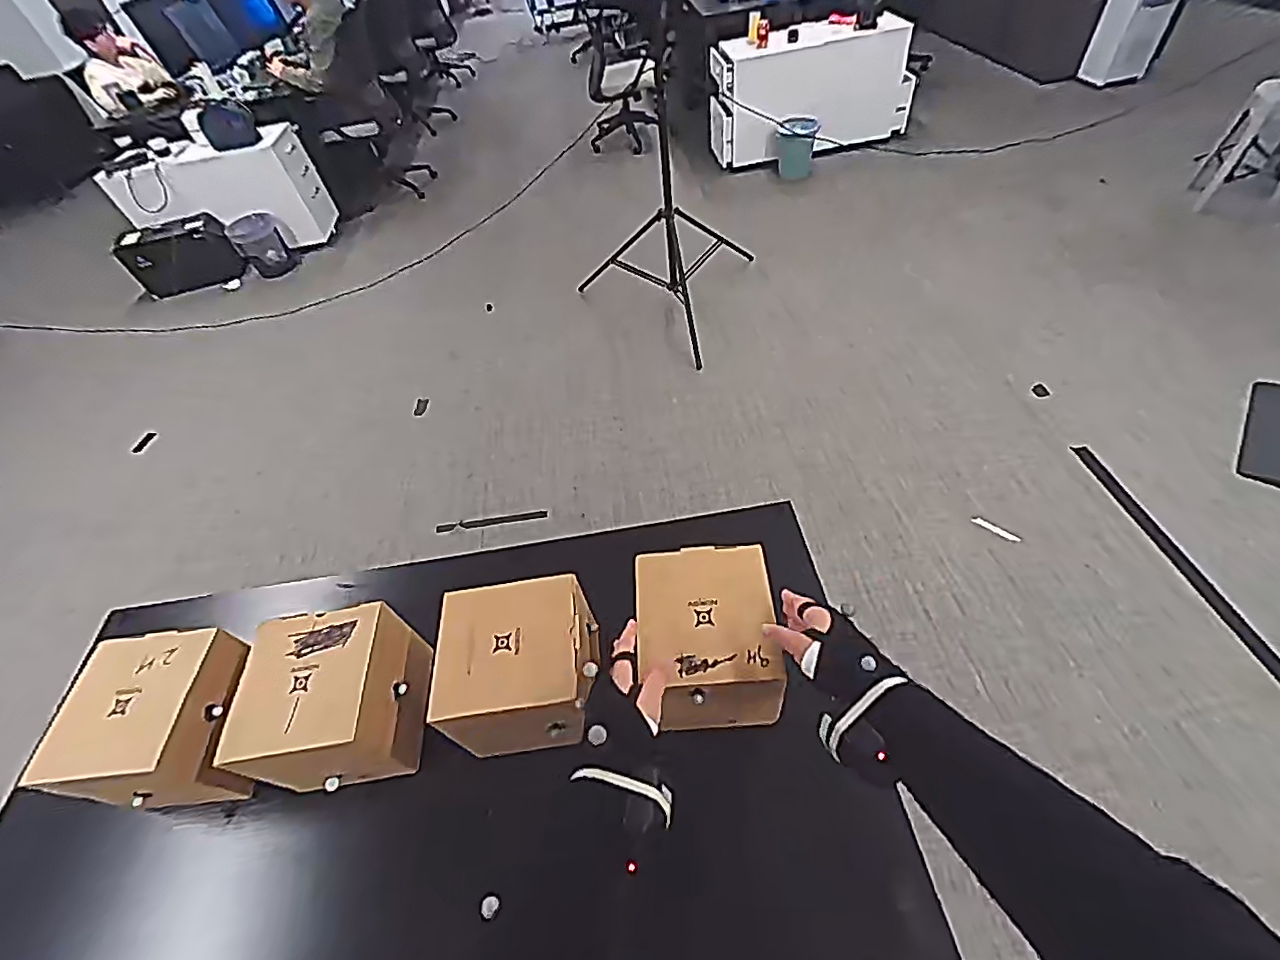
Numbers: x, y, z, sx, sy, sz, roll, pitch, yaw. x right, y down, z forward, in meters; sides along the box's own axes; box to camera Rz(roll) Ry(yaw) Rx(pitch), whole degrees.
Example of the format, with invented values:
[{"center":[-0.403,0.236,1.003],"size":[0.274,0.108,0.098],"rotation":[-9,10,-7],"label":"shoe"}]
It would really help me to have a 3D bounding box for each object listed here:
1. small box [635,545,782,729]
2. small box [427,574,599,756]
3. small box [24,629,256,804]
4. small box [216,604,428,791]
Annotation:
[{"center":[0.084,0.208,0.710],"size":[0.168,0.176,0.179],"rotation":[-6,49,5],"label":"small box"},{"center":[-0.154,0.249,0.718],"size":[0.179,0.176,0.168],"rotation":[-10,49,2],"label":"small box"},{"center":[-0.621,0.324,0.727],"size":[0.168,0.176,0.179],"rotation":[-7,50,3],"label":"small box"},{"center":[-0.399,0.291,0.719],"size":[0.168,0.176,0.179],"rotation":[-10,51,0],"label":"small box"}]
